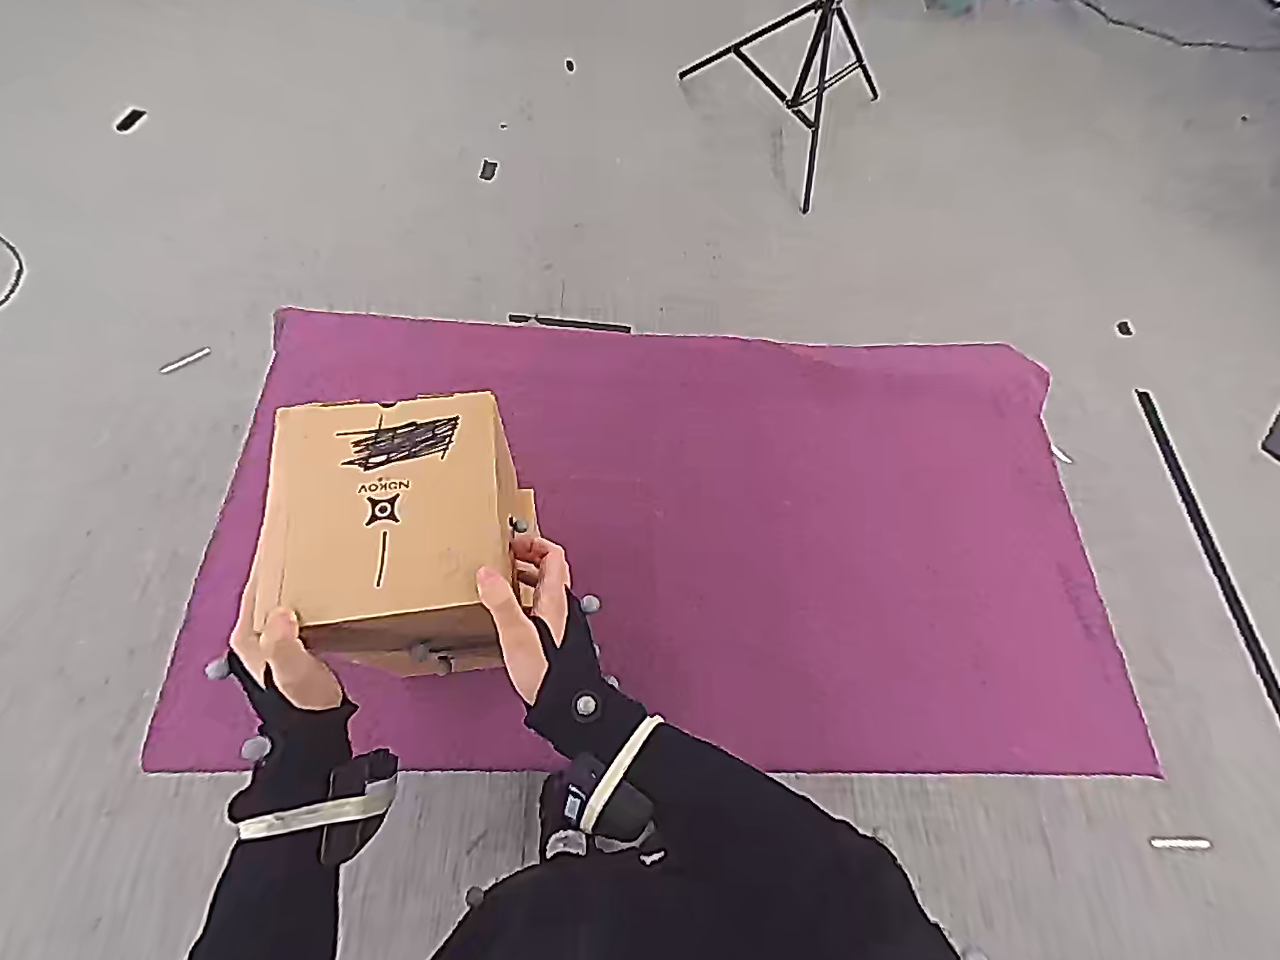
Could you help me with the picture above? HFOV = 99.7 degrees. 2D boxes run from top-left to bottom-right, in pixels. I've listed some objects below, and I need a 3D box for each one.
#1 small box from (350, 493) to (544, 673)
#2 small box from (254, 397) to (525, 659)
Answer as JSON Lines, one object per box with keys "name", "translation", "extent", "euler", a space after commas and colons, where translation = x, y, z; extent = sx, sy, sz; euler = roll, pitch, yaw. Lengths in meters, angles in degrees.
{"name": "small box", "translation": [-0.203, 0.124, 0.622], "extent": [0.179, 0.176, 0.168], "euler": [-4, 66, -7]}
{"name": "small box", "translation": [-0.196, 0.049, 0.475], "extent": [0.168, 0.176, 0.179], "euler": [-7, 67, -8]}
